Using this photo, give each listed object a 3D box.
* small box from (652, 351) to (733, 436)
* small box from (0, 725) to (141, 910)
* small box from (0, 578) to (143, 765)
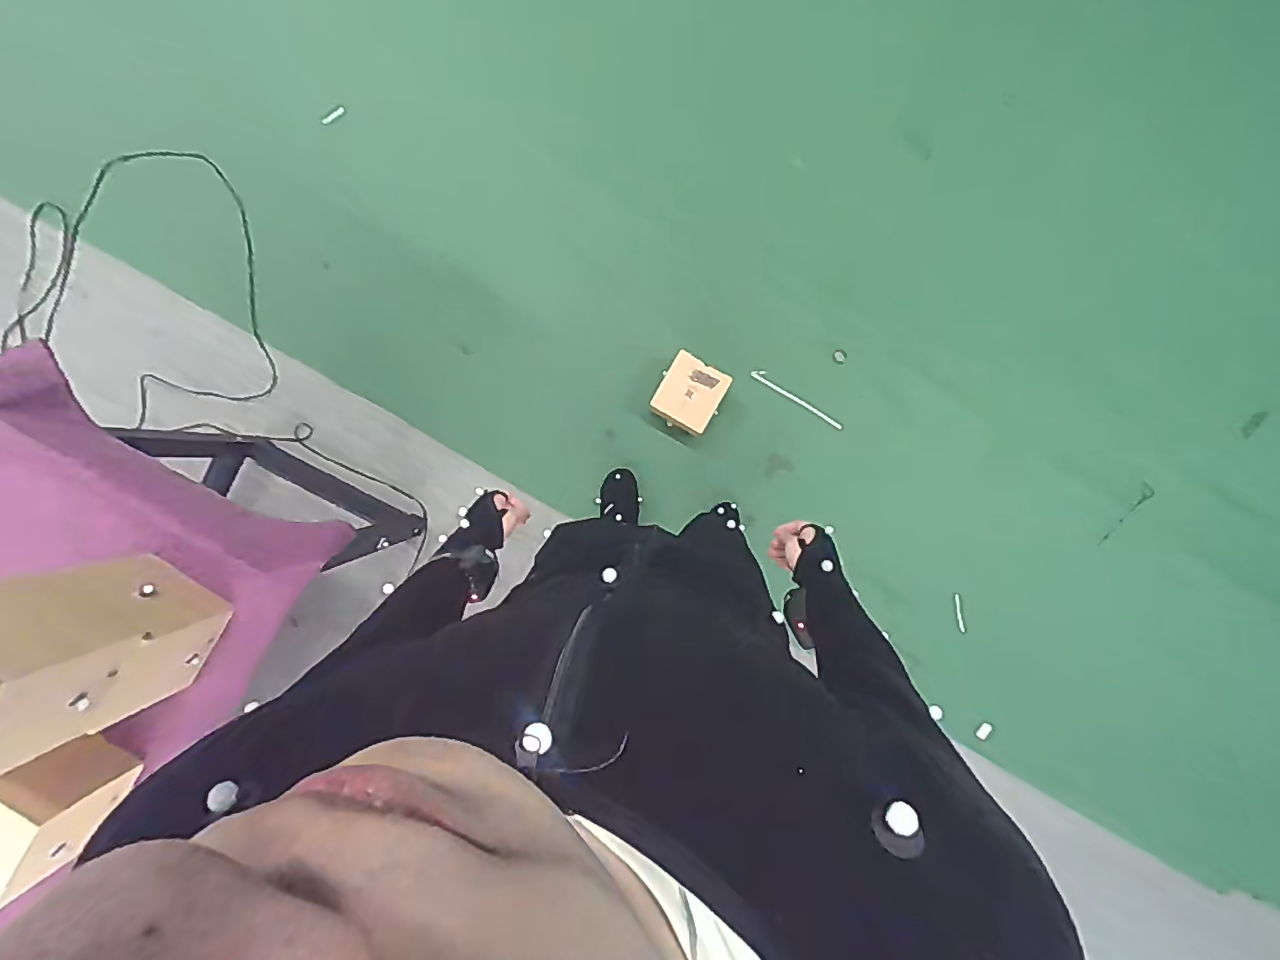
[{"bbox_3d":[0.141,-0.238,1.538,0.168,0.176,0.179,30,93,0],"label":"small box"},{"bbox_3d":[-0.964,0.513,0.855,0.179,0.176,0.168,32,93,1],"label":"small box"},{"bbox_3d":[-0.800,0.239,0.673,0.179,0.176,0.168,31,94,0],"label":"small box"}]
